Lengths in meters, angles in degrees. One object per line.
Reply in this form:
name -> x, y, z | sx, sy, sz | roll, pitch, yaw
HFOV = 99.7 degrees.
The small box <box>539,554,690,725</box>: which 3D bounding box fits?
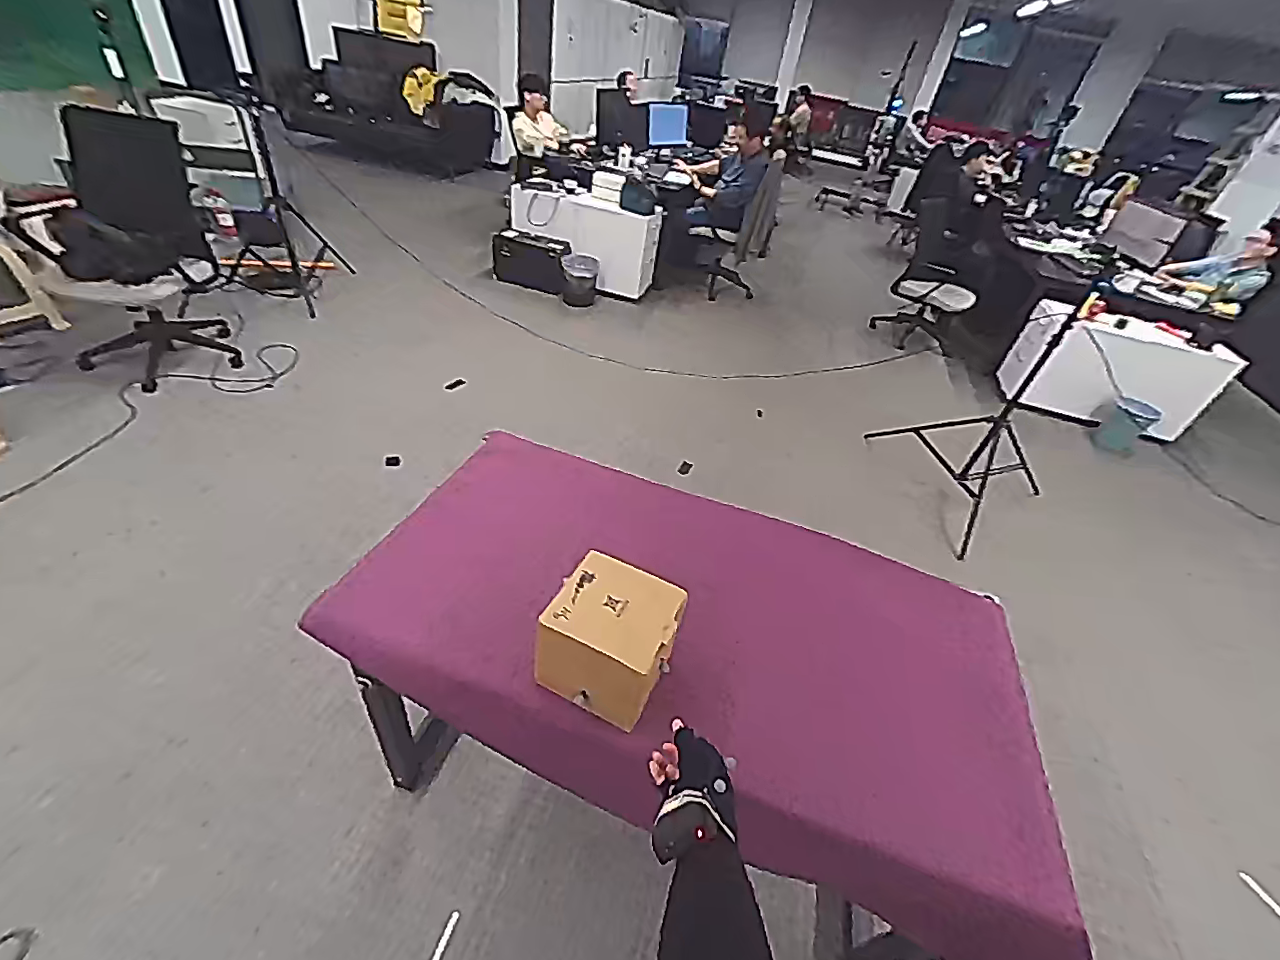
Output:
small box -> -0.044, 0.256, 0.858 | 0.179, 0.176, 0.168 | 22, 39, 14
